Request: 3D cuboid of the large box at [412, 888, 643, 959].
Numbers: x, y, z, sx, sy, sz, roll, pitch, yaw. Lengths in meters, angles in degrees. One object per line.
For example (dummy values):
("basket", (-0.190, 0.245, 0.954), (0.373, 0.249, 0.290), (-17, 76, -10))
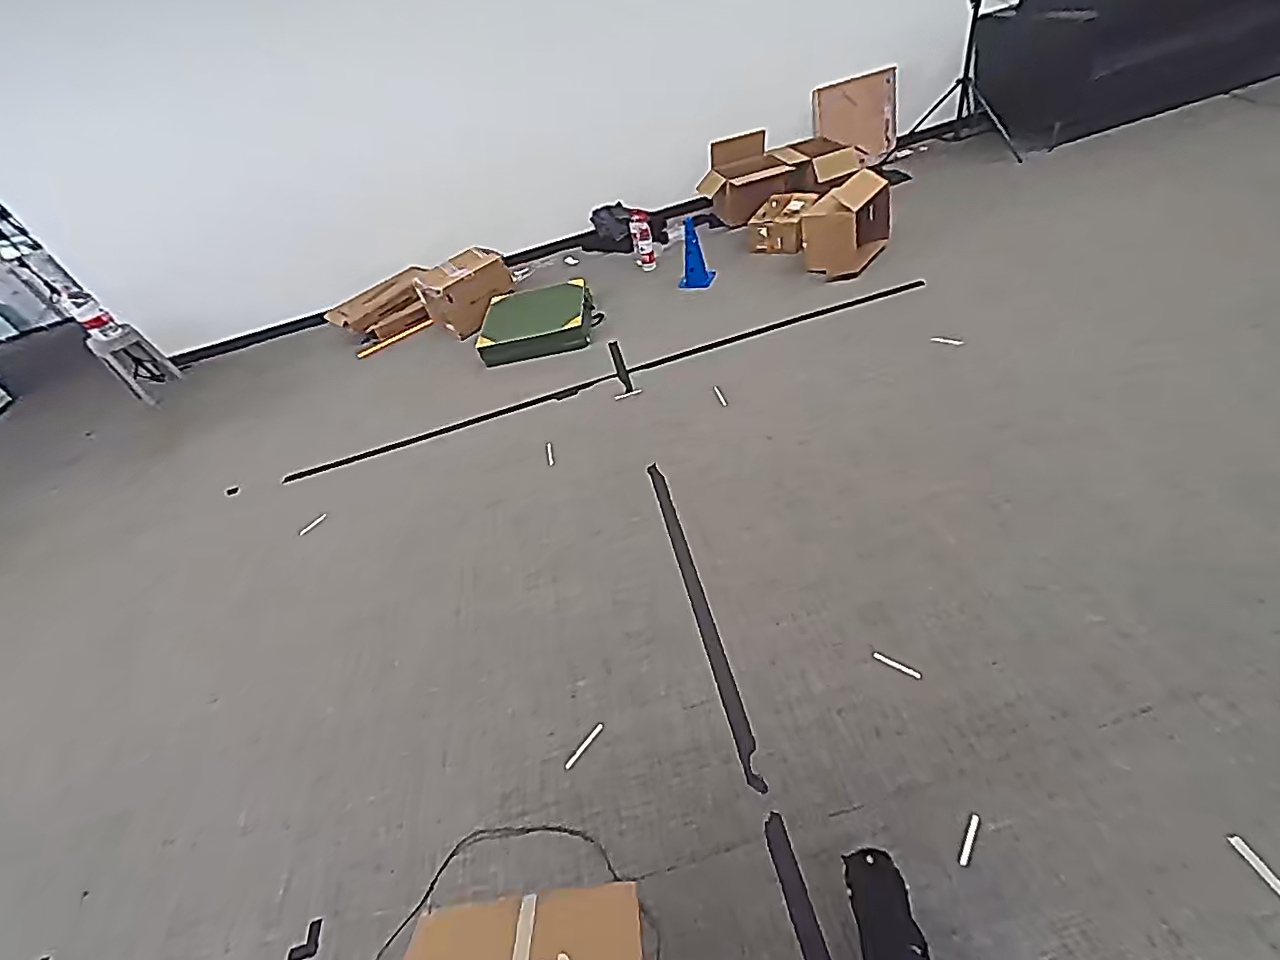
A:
("large box", (-0.132, 0.787, 0.614), (0.320, 0.320, 0.408), (-4, 4, -3))
